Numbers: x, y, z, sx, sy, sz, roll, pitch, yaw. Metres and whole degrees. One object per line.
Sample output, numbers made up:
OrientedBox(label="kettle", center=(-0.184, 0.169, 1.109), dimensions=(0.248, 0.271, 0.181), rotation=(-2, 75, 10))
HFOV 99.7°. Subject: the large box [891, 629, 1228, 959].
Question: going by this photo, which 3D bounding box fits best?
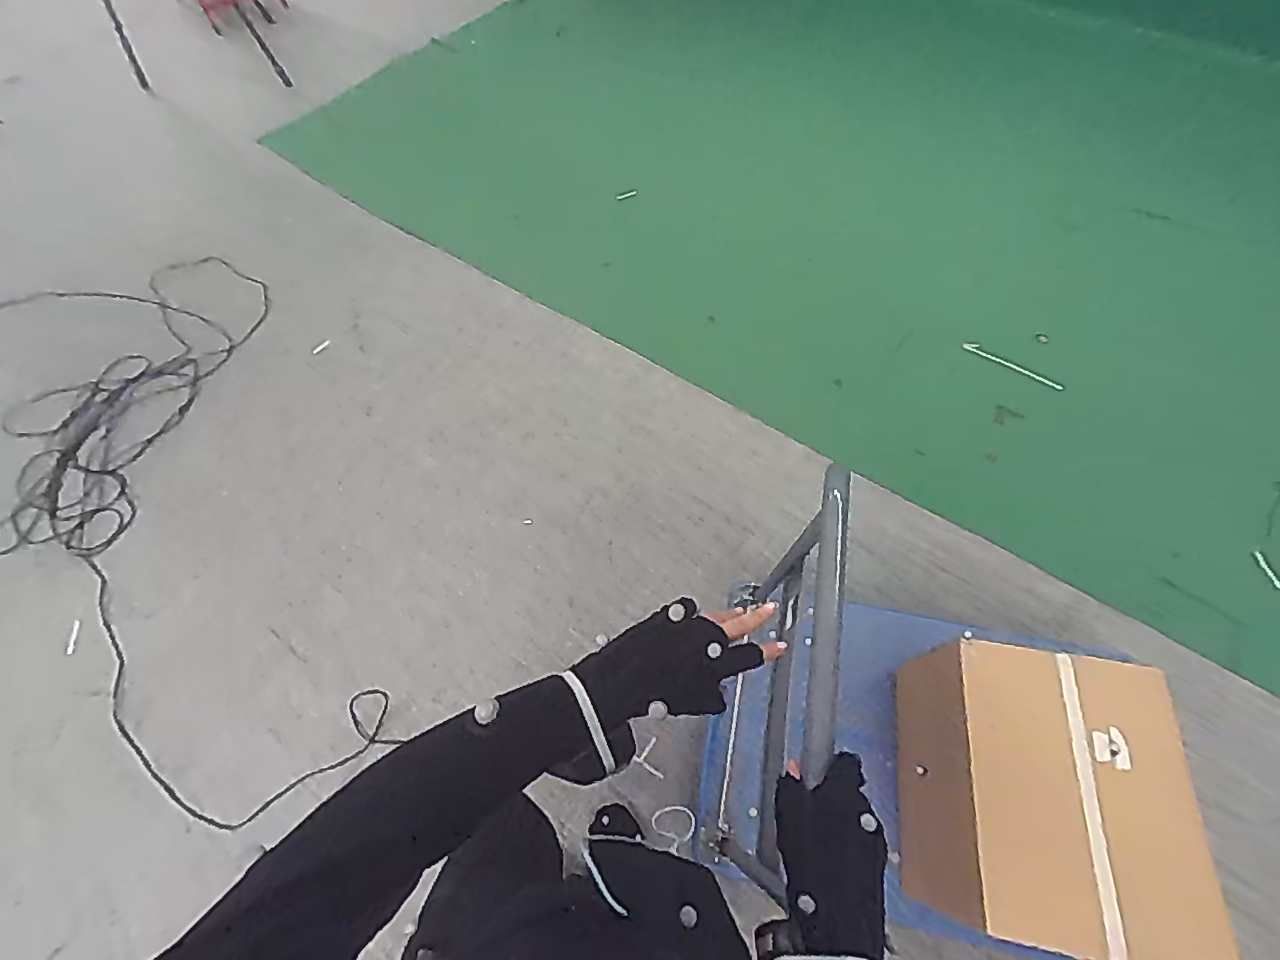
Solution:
OrientedBox(label="large box", center=(0.656, 0.519, 0.943), dimensions=(0.320, 0.320, 0.408), rotation=(8, 61, 7))
